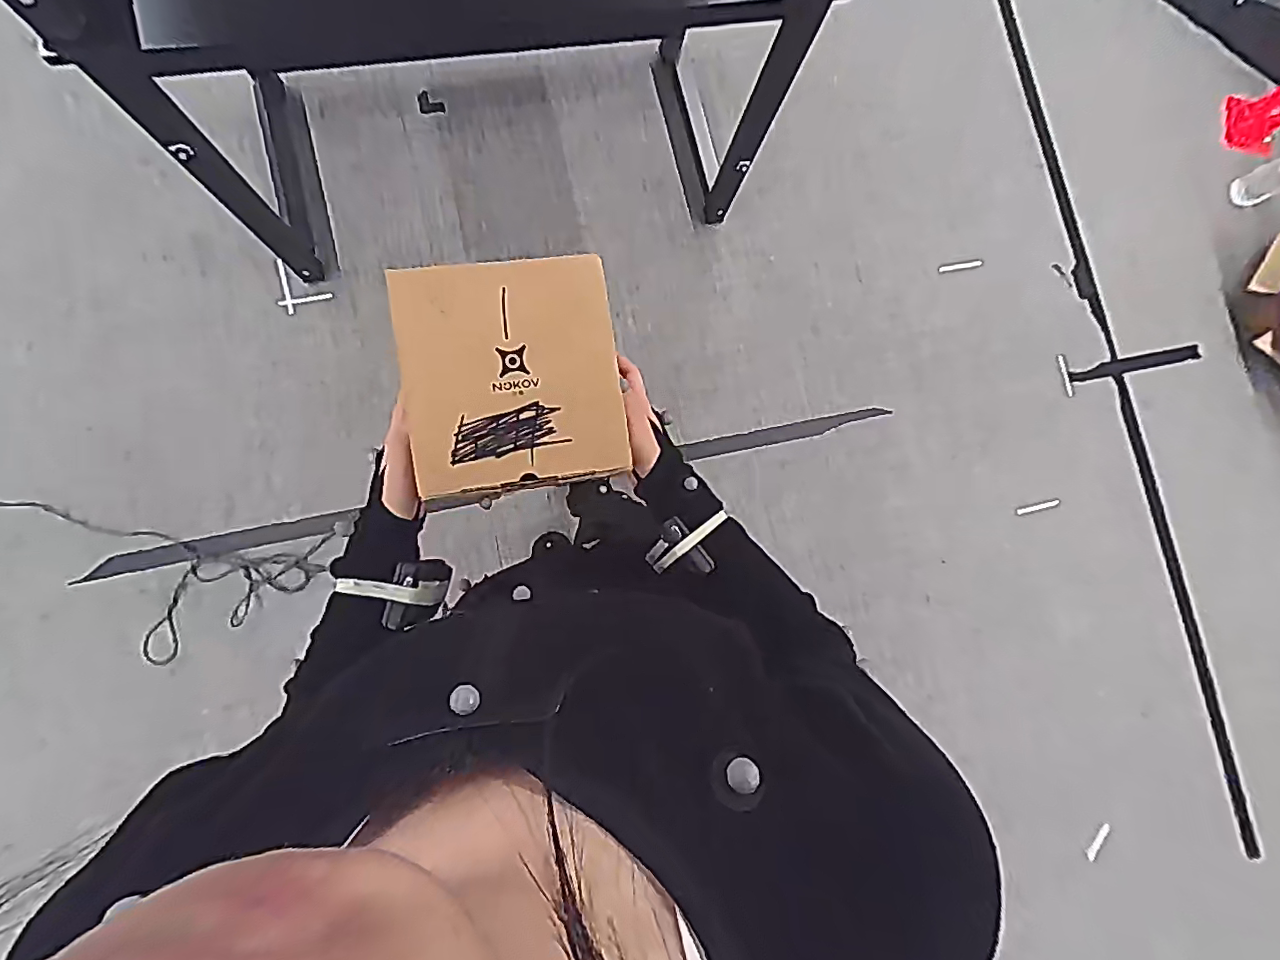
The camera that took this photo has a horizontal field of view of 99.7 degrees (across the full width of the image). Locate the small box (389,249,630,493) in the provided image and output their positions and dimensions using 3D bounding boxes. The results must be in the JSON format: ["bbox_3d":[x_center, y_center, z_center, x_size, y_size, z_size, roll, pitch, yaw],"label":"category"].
[{"bbox_3d":[-0.109,-0.084,0.493,0.168,0.176,0.179,-8,89,-10],"label":"small box"}]
